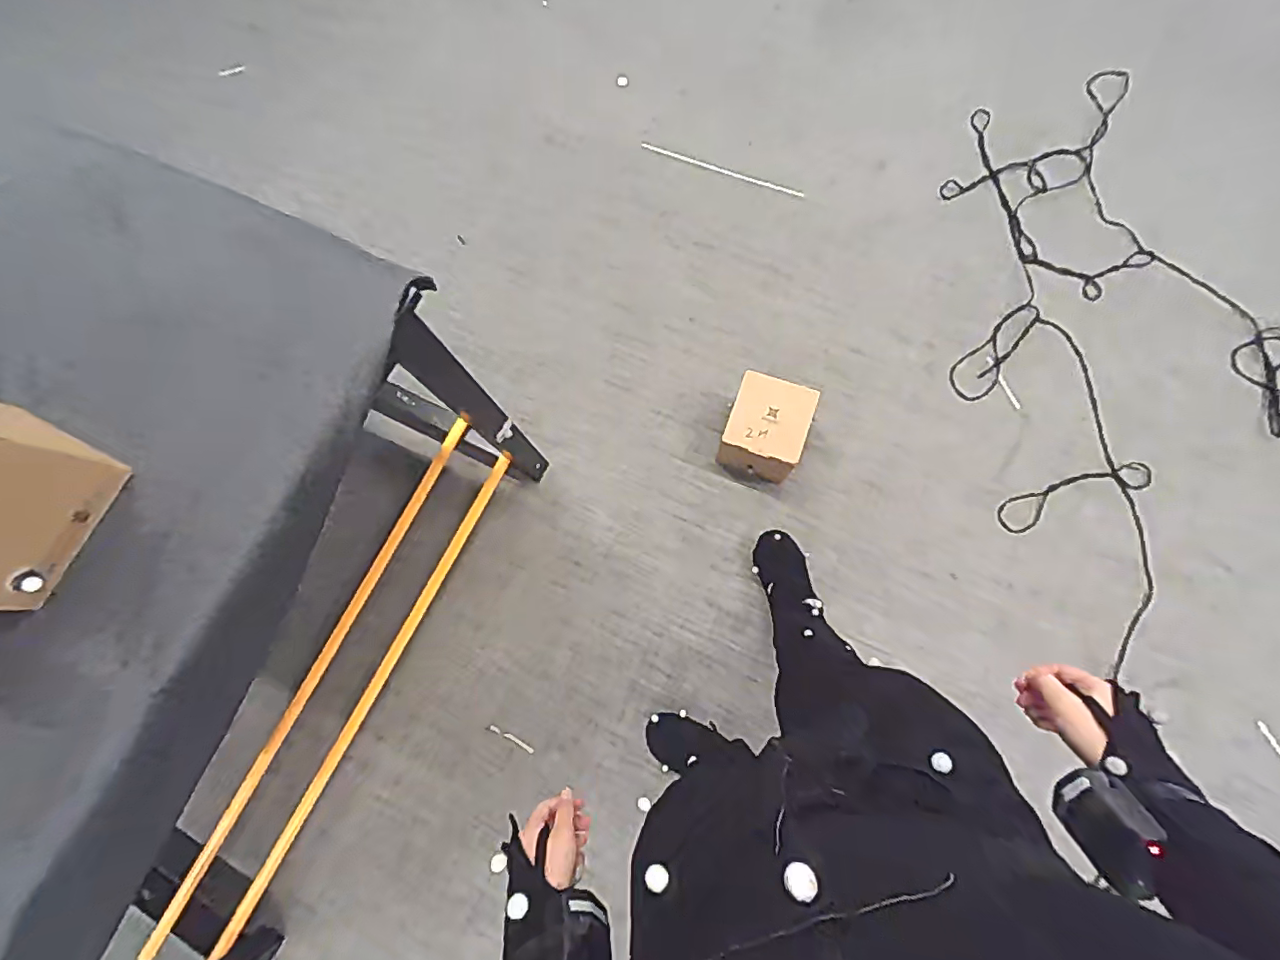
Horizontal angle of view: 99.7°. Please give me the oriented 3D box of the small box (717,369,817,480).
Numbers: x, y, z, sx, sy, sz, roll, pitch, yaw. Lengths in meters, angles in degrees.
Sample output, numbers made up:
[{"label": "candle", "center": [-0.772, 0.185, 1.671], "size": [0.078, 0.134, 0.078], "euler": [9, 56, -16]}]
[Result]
[{"label": "small box", "center": [0.278, -0.119, 1.220], "size": [0.168, 0.176, 0.179], "euler": [19, 79, 9]}]

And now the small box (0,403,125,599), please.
[{"label": "small box", "center": [-0.659, 0.005, 0.503], "size": [0.179, 0.176, 0.168], "euler": [24, 79, 10]}]
